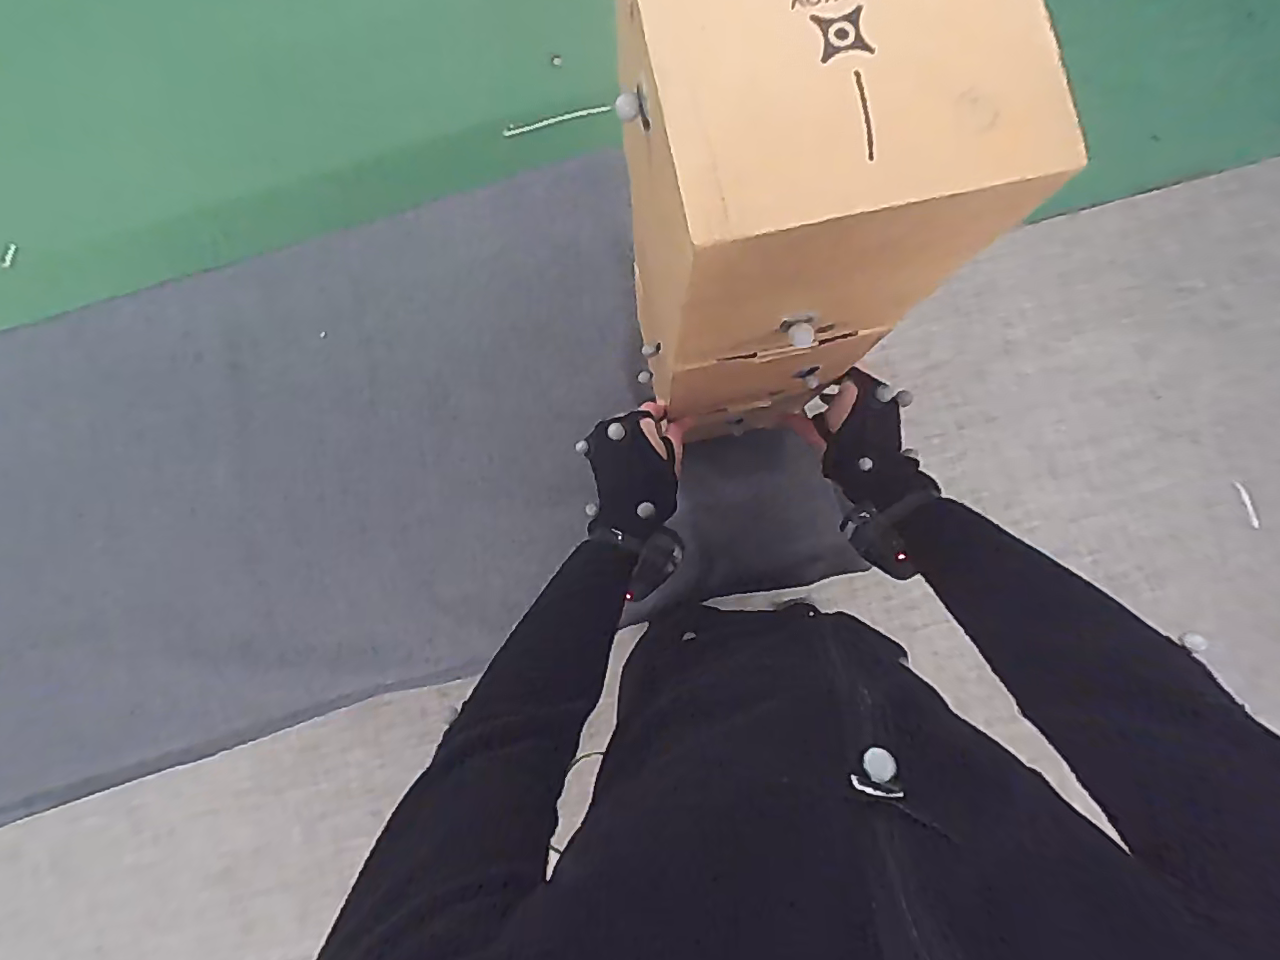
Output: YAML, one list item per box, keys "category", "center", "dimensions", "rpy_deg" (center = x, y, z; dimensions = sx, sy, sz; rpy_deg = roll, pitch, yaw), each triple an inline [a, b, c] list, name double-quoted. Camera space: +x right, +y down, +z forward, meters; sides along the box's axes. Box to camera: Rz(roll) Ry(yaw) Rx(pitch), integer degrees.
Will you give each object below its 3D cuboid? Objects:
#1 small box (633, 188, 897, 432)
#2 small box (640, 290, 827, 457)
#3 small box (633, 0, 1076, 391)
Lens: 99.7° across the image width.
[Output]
- category: "small box"
  center: [0.094, -0.149, 0.480]
  dimensions: [0.168, 0.176, 0.179]
  rpy_deg: [-13, 82, 0]
- category: "small box"
  center: [0.100, -0.130, 0.642]
  dimensions: [0.168, 0.176, 0.179]
  rpy_deg: [-13, 84, 0]
- category: "small box"
  center: [0.090, -0.170, 0.317]
  dimensions: [0.168, 0.176, 0.179]
  rpy_deg: [-12, 84, 0]
